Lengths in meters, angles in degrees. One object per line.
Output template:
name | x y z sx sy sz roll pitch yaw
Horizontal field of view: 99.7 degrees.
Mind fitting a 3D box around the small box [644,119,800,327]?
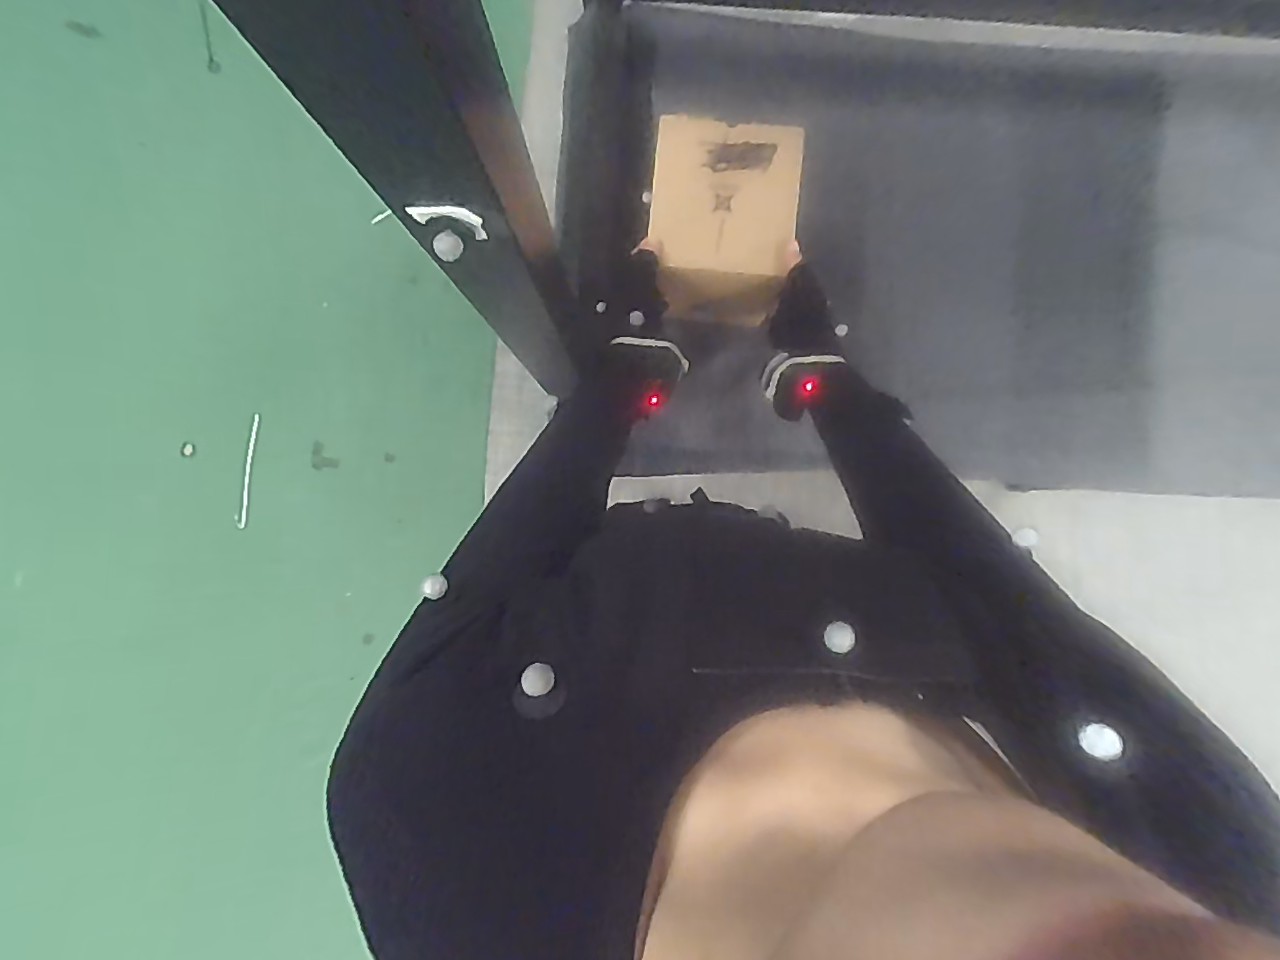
small box | 0.094 -0.314 0.691 0.168 0.176 0.179 6 88 1
